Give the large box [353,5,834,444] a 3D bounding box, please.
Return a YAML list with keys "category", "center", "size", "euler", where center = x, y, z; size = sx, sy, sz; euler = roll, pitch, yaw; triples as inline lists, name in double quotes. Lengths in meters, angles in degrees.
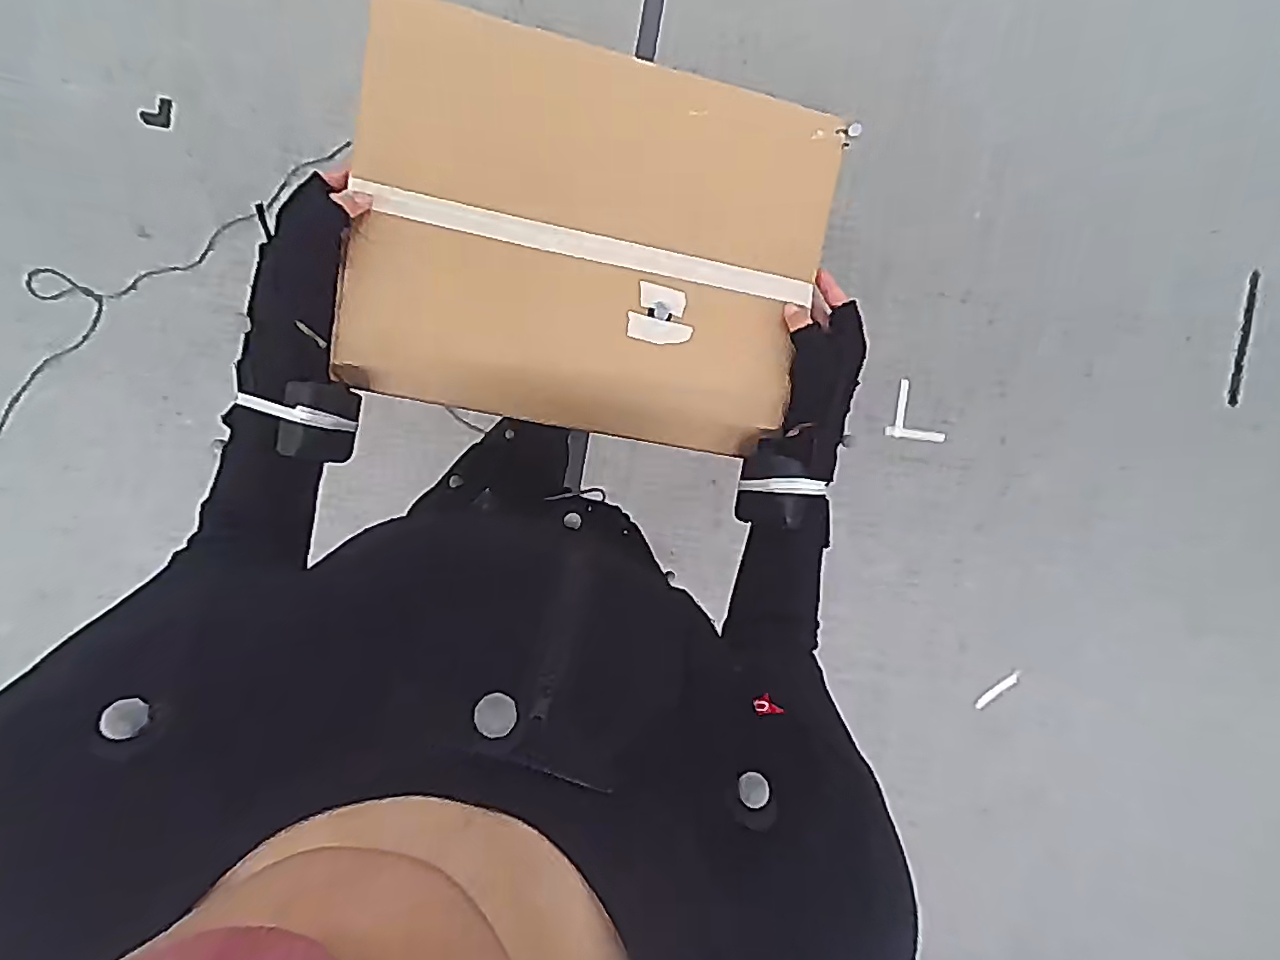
- category: "large box"
  center: [-0.059, -0.232, 0.631]
  size: [0.408, 0.320, 0.320]
  euler: [9, 98, -9]
